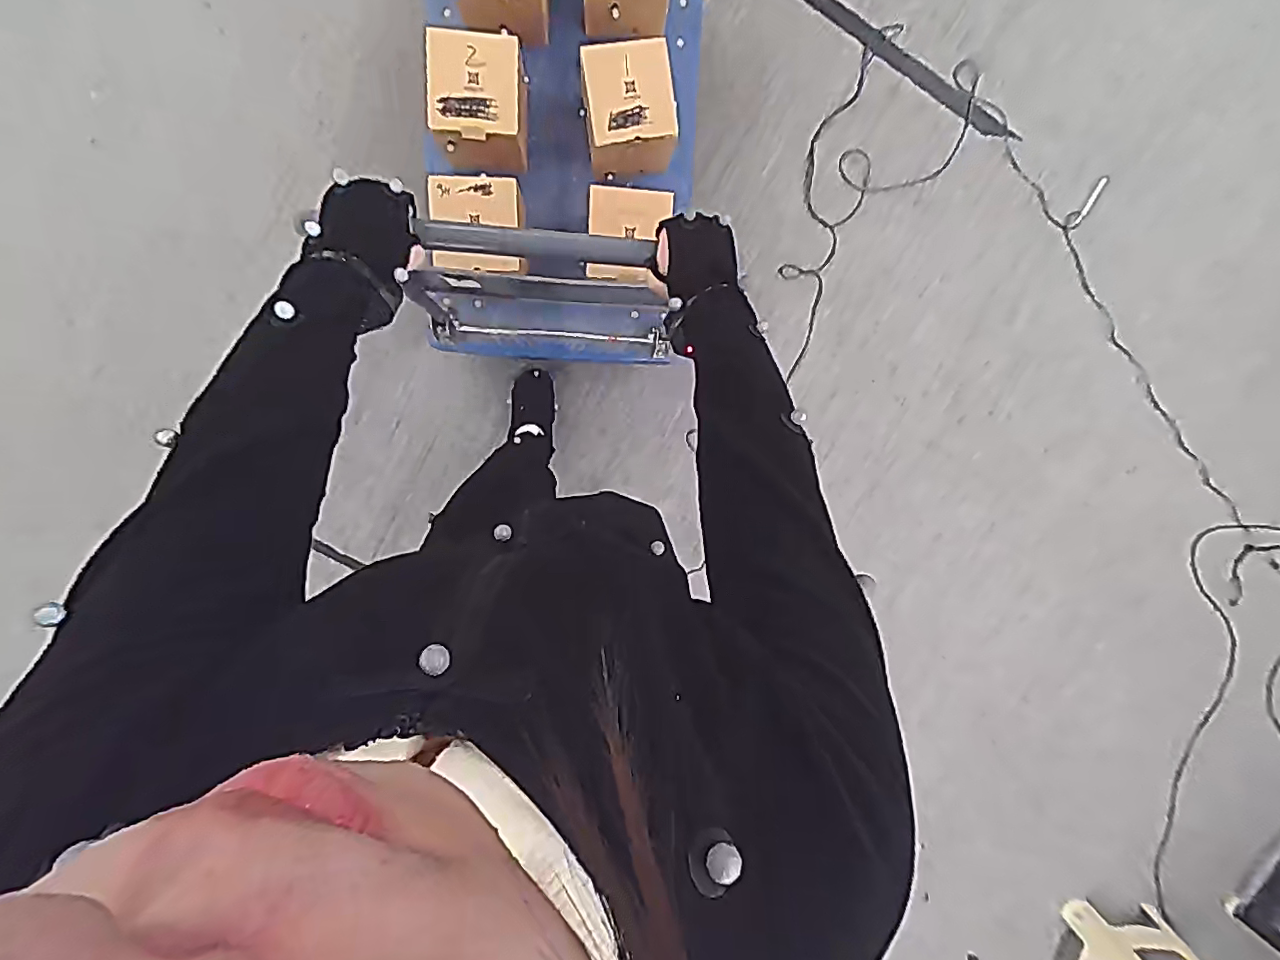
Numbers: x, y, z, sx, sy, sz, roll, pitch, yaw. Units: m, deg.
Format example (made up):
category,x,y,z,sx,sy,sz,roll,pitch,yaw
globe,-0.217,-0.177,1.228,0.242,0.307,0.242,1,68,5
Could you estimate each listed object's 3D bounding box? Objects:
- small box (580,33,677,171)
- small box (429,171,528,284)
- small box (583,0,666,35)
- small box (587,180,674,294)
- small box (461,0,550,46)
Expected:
category,x,y,z,sx,sy,sz,roll,pitch,yaw
small box,-0.027,-0.757,1.106,0.168,0.176,0.179,-10,98,-4
small box,-0.323,-0.507,1.112,0.168,0.176,0.179,-1,99,-6
small box,-0.030,-1.027,1.067,0.168,0.176,0.179,-1,98,-5
small box,-0.026,-0.502,1.144,0.168,0.176,0.179,2,97,-7
small box,-0.262,-0.998,1.046,0.168,0.176,0.179,4,99,-6
